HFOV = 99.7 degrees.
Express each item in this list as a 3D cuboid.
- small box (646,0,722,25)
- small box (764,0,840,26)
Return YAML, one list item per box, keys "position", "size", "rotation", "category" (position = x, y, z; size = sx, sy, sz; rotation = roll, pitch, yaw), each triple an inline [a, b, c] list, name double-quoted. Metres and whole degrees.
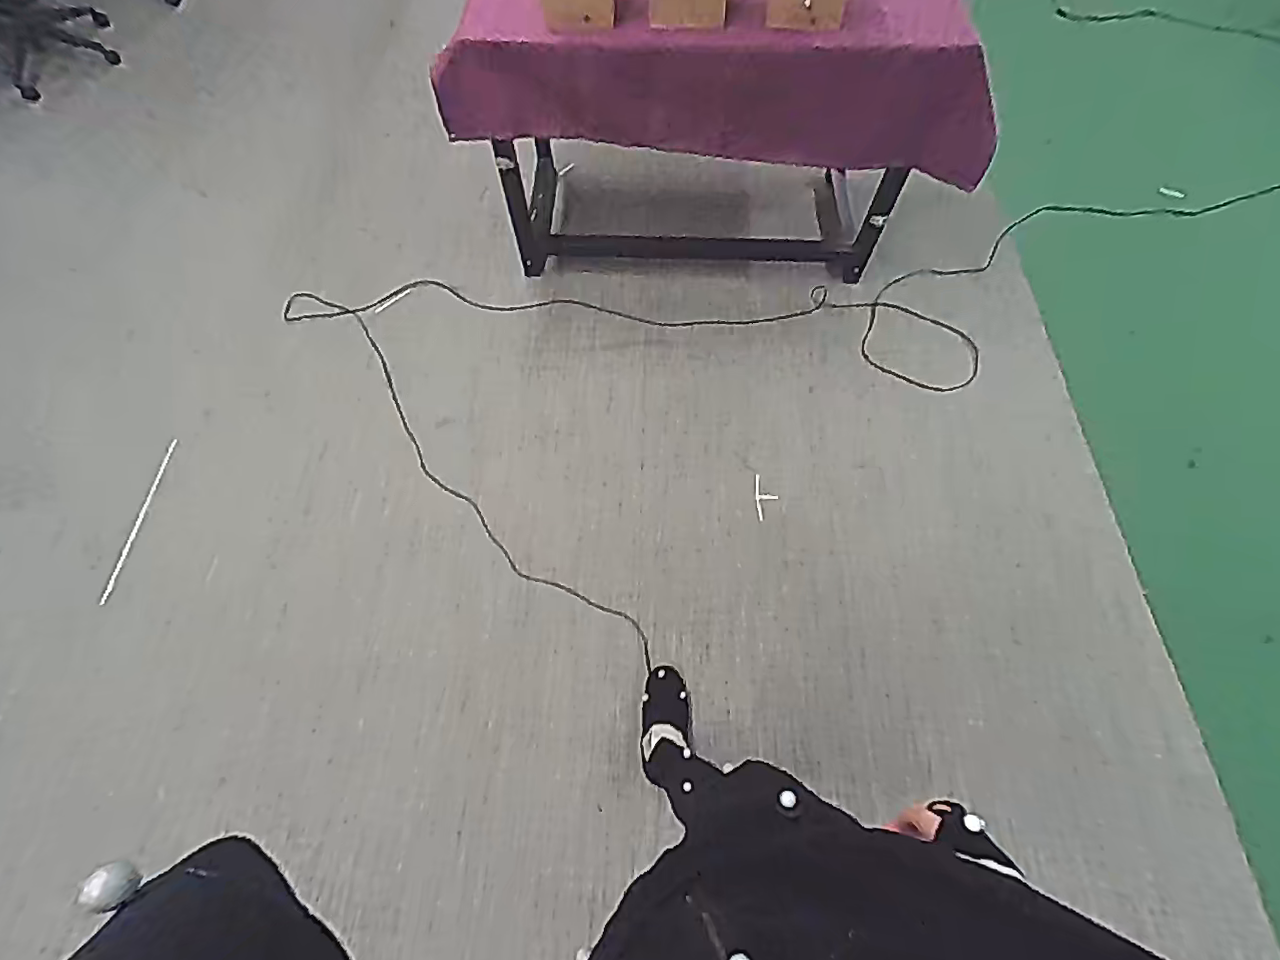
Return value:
- position: [0.100, -1.168, 1.224]
  size: [0.179, 0.176, 0.168]
  rotation: [0, 65, 1]
  category: "small box"
- position: [0.377, -1.167, 1.215]
  size: [0.168, 0.176, 0.179]
  rotation: [6, 64, 4]
  category: "small box"
